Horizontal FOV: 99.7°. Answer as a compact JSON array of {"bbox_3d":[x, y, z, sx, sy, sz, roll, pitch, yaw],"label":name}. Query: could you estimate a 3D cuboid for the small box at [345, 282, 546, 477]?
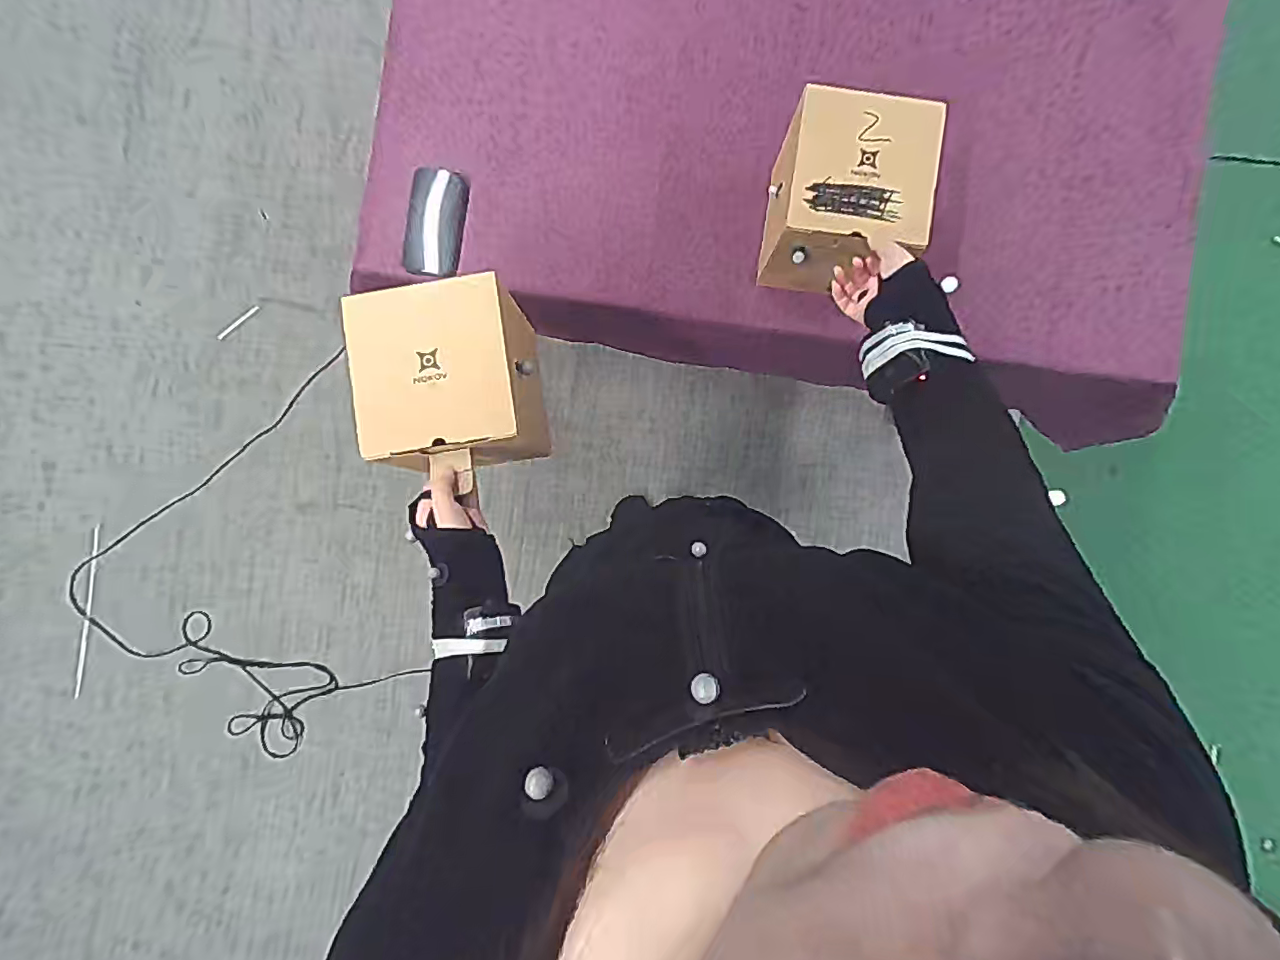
[{"bbox_3d":[-0.217,-0.106,0.642,0.168,0.176,0.179,-9,86,1],"label":"small box"}]
